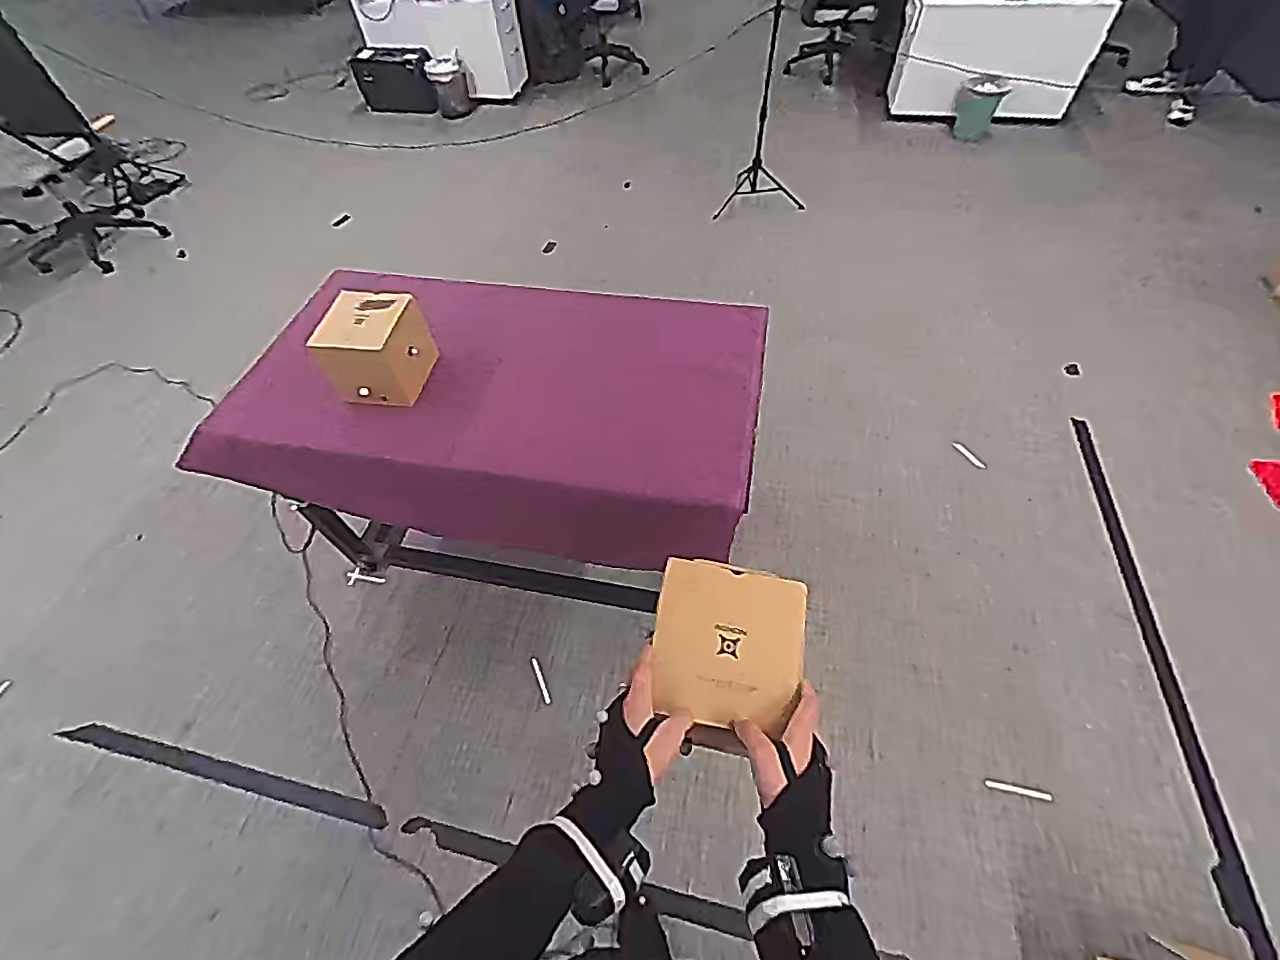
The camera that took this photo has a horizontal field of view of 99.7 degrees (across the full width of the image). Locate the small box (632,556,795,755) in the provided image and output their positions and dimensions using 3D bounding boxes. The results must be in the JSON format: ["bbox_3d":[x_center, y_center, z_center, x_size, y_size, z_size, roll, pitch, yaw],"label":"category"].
[{"bbox_3d":[0.084,0.220,0.666,0.168,0.176,0.179,10,57,4],"label":"small box"}]

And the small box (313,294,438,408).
[{"bbox_3d":[-0.570,-0.285,1.198,0.168,0.176,0.179,5,56,7],"label":"small box"}]
